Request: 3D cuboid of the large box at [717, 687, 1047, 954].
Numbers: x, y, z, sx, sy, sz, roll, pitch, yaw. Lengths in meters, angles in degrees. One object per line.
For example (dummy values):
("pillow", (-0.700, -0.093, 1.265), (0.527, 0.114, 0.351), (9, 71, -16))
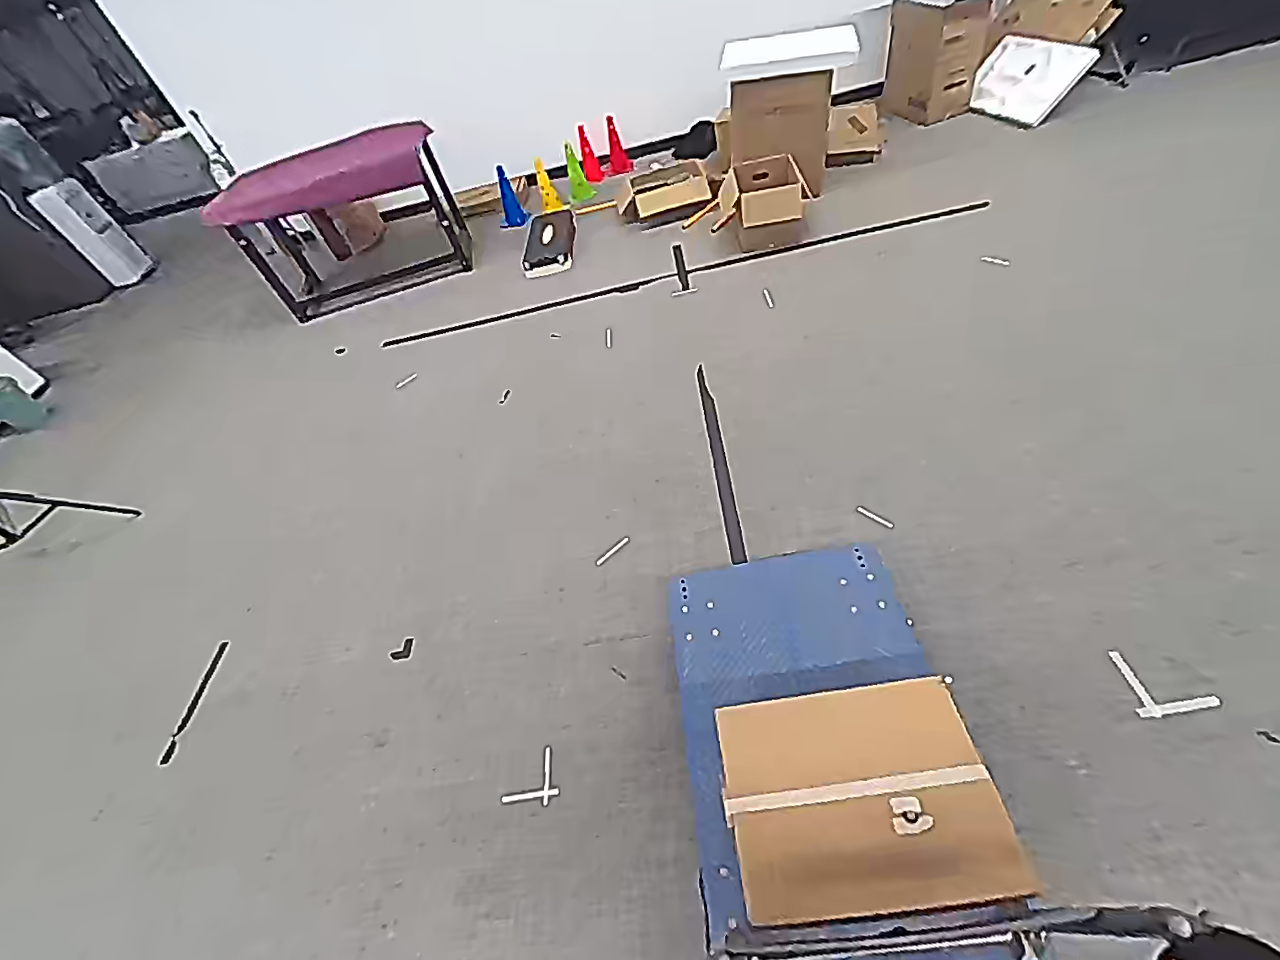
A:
("large box", (0.369, 0.602, 0.948), (0.408, 0.320, 0.320), (-11, 48, 5))
